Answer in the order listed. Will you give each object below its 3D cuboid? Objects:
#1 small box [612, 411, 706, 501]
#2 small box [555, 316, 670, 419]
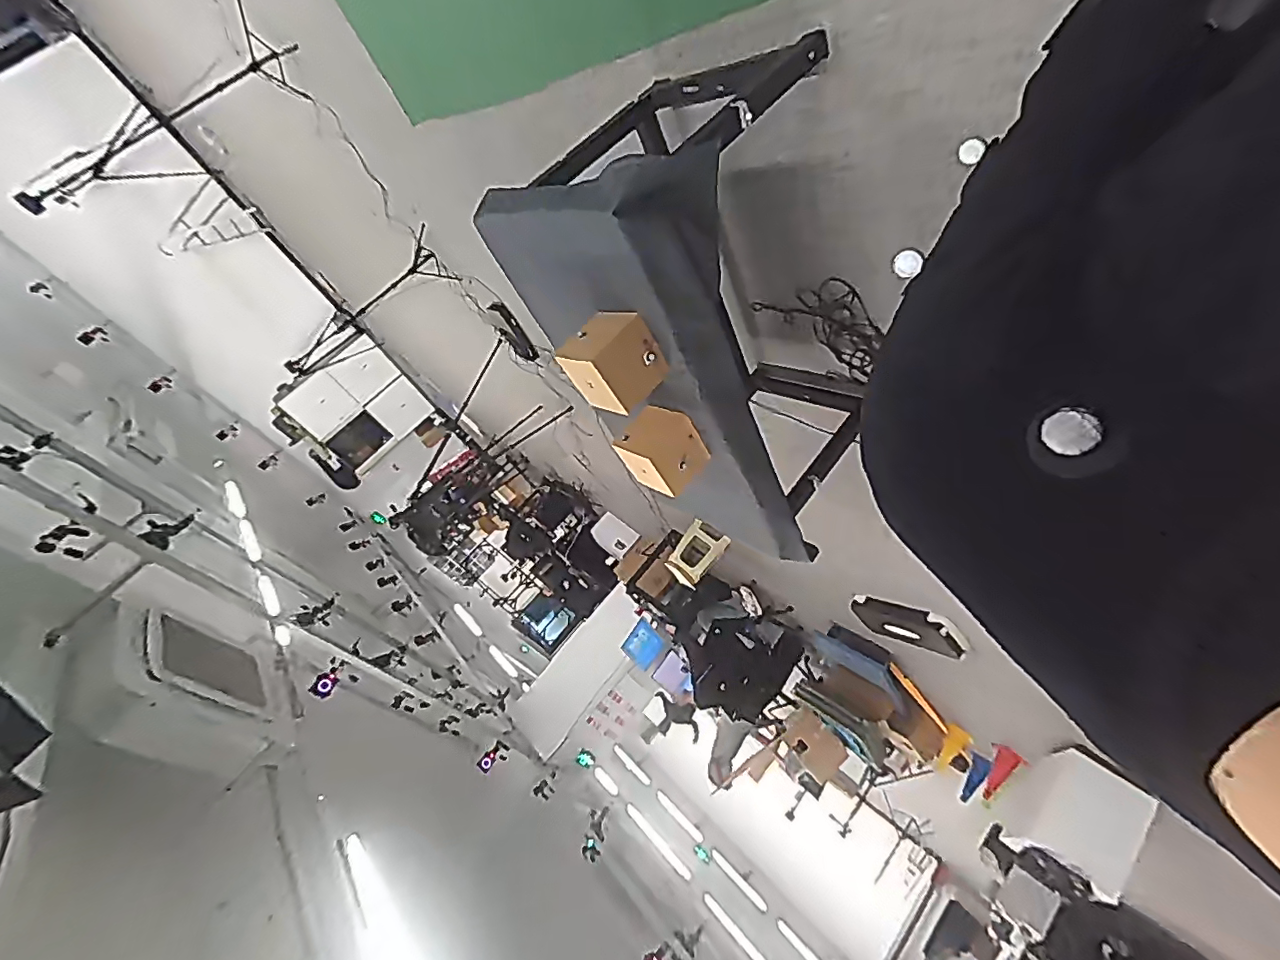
[{"bbox_3d":[0.063,-0.074,1.508,0.179,0.176,0.168,23,156,50],"label":"small box"},{"bbox_3d":[-0.062,-0.272,1.282,0.179,0.176,0.168,21,155,50],"label":"small box"}]
